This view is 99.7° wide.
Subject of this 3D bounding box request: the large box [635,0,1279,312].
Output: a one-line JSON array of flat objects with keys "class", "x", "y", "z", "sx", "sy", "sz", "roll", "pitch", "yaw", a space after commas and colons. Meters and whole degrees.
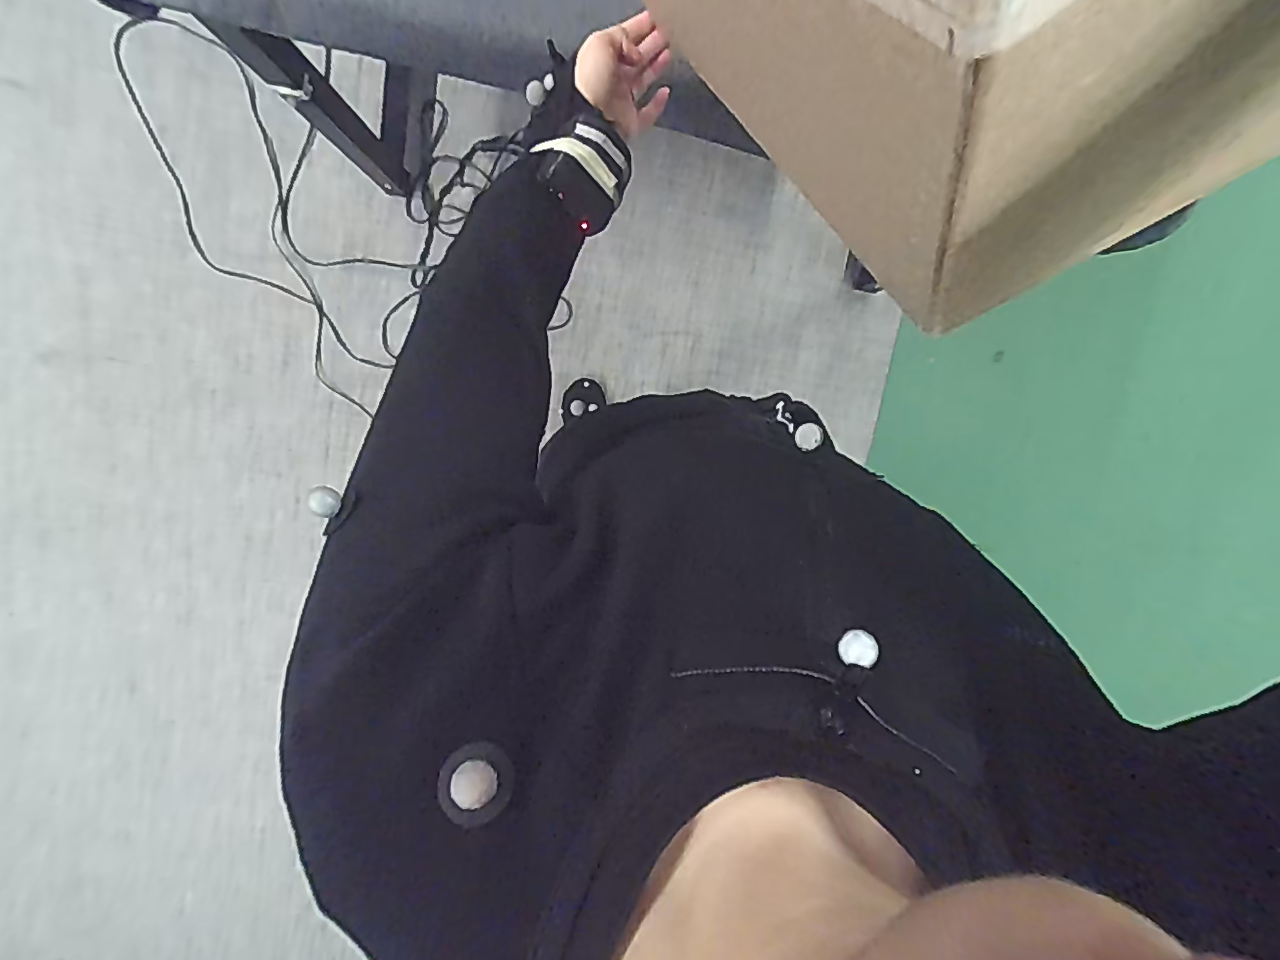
[{"class": "large box", "x": 0.148, "y": -0.360, "z": 0.214, "sx": 0.320, "sy": 0.320, "sz": 0.408, "roll": -31, "pitch": 63, "yaw": 9}]
